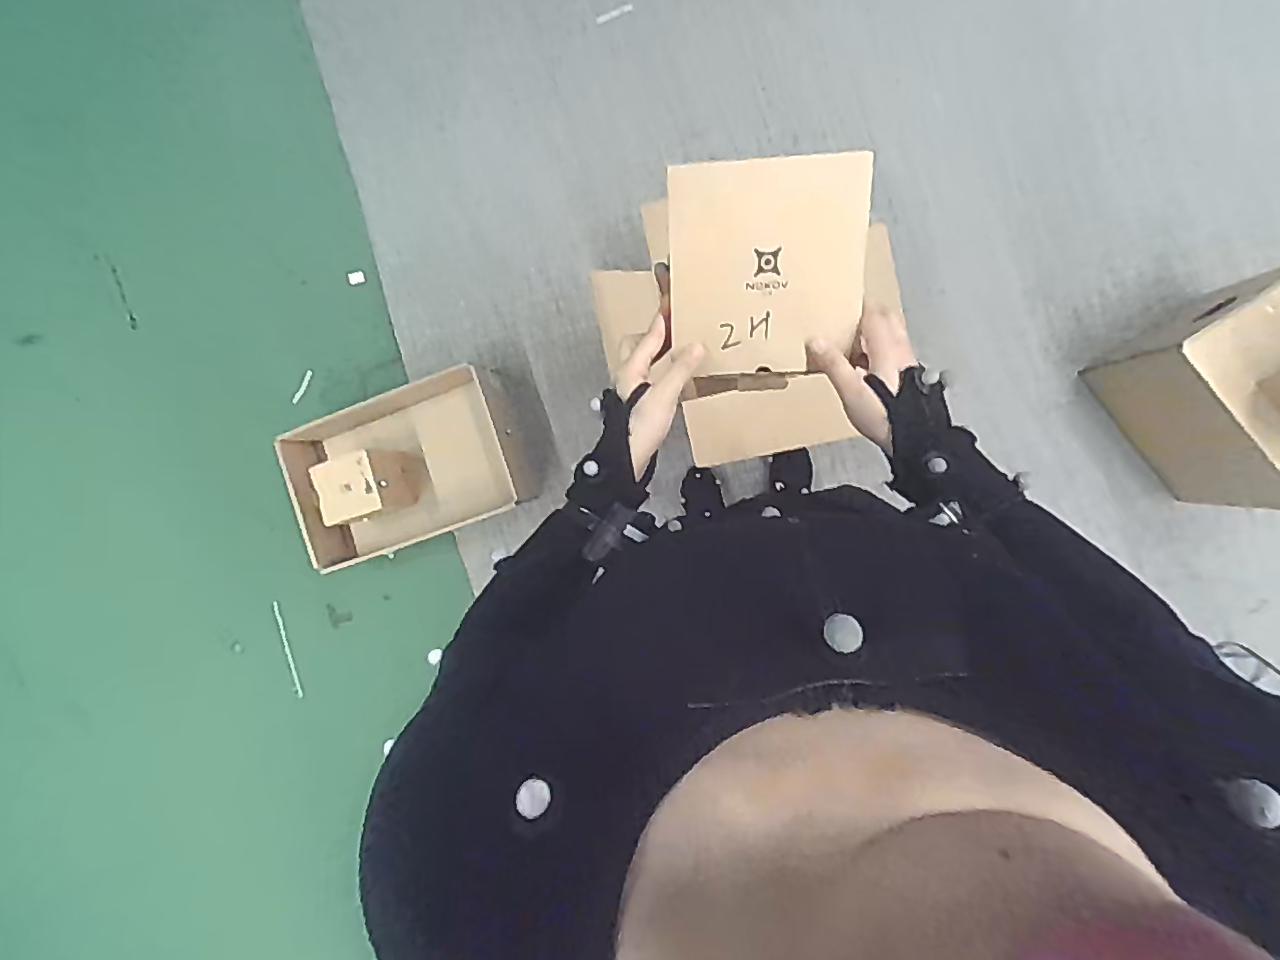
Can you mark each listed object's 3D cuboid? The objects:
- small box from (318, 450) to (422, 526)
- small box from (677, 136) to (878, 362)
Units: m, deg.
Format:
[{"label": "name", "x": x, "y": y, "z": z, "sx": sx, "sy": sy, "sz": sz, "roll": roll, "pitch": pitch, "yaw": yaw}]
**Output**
[{"label": "small box", "x": -0.744, "y": 0.024, "z": 1.502, "sx": 0.179, "sy": 0.176, "sz": 0.168, "roll": -18, "pitch": 87, "yaw": 9}, {"label": "small box", "x": 0.120, "y": -0.215, "z": 0.539, "sx": 0.168, "sy": 0.176, "sz": 0.179, "roll": -1, "pitch": 108, "yaw": 6}]
